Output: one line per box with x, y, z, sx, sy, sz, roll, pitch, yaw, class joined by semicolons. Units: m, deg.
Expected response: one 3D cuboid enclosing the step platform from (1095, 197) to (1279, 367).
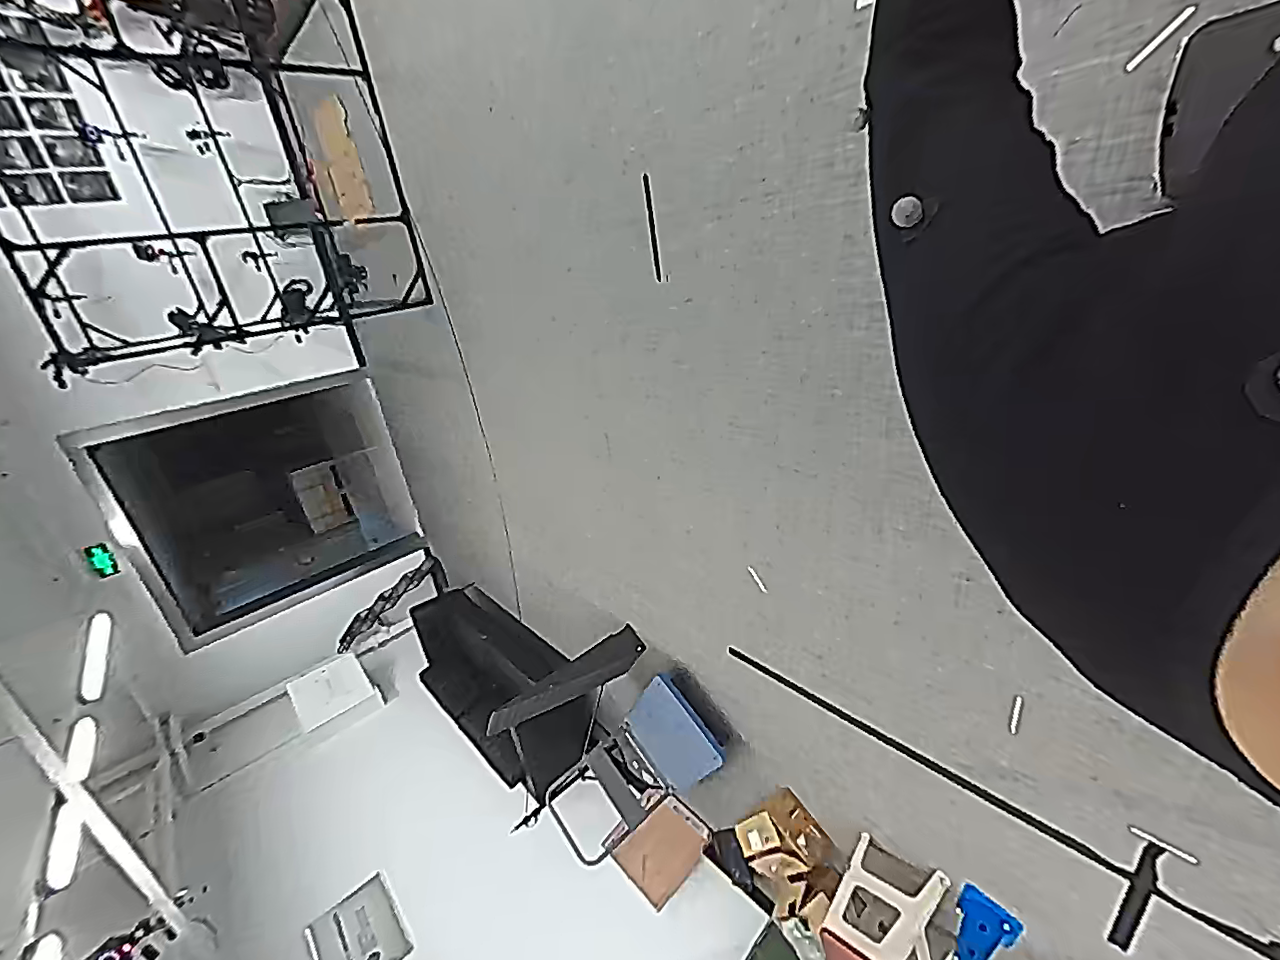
1.196;-0.337;0.887;0.684;0.204;0.286;17;123;48;step platform
